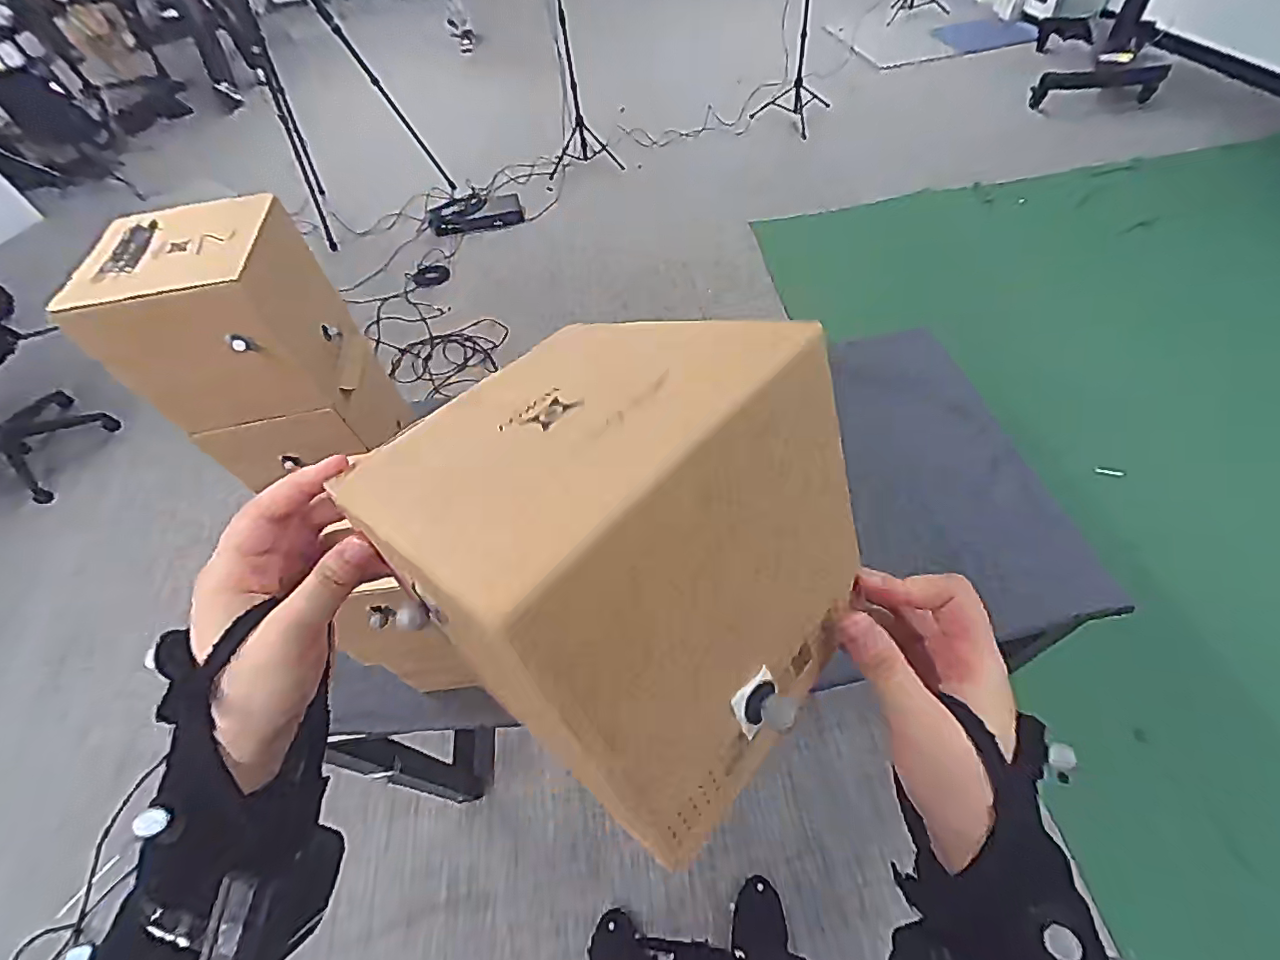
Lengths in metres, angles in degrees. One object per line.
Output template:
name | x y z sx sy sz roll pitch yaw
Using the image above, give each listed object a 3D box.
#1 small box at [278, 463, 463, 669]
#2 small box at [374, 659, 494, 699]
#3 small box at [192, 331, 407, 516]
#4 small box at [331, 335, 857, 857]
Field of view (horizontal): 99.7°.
small box | -0.235 0.092 0.588 0.179 0.176 0.168 -9 53 2
small box | -0.227 0.181 0.724 0.179 0.176 0.168 -7 52 2
small box | -0.441 -0.072 0.739 0.179 0.176 0.168 -12 54 -1
small box | -0.013 0.043 0.279 0.179 0.176 0.168 20 54 45
